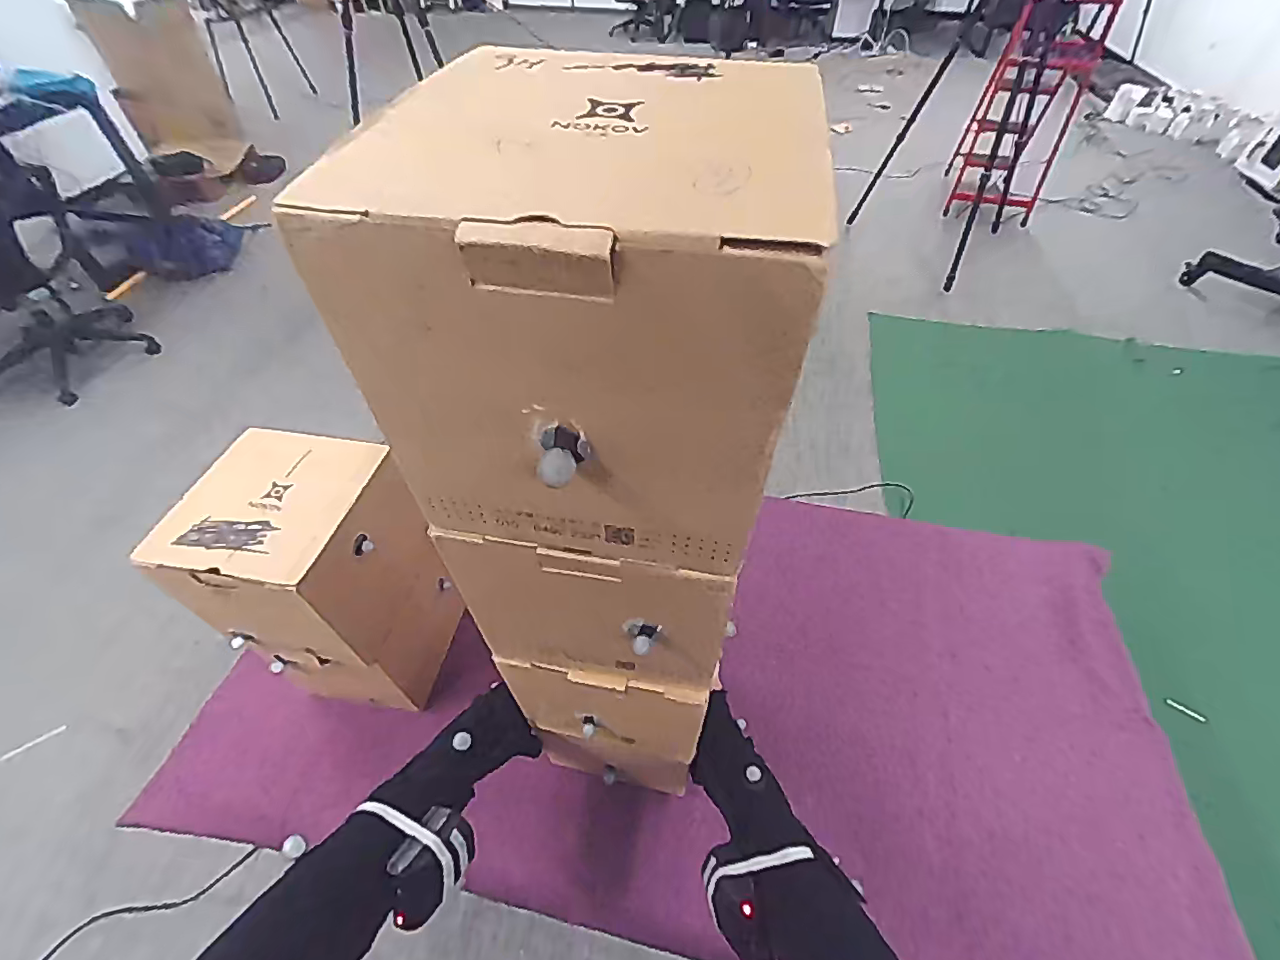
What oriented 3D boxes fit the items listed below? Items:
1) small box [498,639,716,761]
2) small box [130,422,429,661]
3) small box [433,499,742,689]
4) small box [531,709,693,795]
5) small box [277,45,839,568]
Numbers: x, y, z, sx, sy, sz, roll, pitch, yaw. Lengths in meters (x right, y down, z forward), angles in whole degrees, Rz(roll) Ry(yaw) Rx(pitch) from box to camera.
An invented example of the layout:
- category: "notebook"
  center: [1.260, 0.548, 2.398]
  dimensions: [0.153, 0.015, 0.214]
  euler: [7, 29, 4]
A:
- category: "small box"
  center: [-0.012, 0.137, 0.508]
  dimensions: [0.168, 0.176, 0.179]
  euler: [10, 52, 8]
- category: "small box"
  center: [-0.350, 0.069, 0.574]
  dimensions: [0.168, 0.176, 0.179]
  euler: [11, 51, 7]
- category: "small box"
  center: [-0.014, 0.028, 0.385]
  dimensions: [0.168, 0.176, 0.179]
  euler: [9, 51, 6]
- category: "small box"
  center: [-0.010, 0.240, 0.634]
  dimensions: [0.168, 0.176, 0.179]
  euler: [10, 52, 10]
- category: "small box"
  center: [-0.012, -0.078, 0.261]
  dimensions: [0.168, 0.176, 0.179]
  euler: [9, 52, 6]
